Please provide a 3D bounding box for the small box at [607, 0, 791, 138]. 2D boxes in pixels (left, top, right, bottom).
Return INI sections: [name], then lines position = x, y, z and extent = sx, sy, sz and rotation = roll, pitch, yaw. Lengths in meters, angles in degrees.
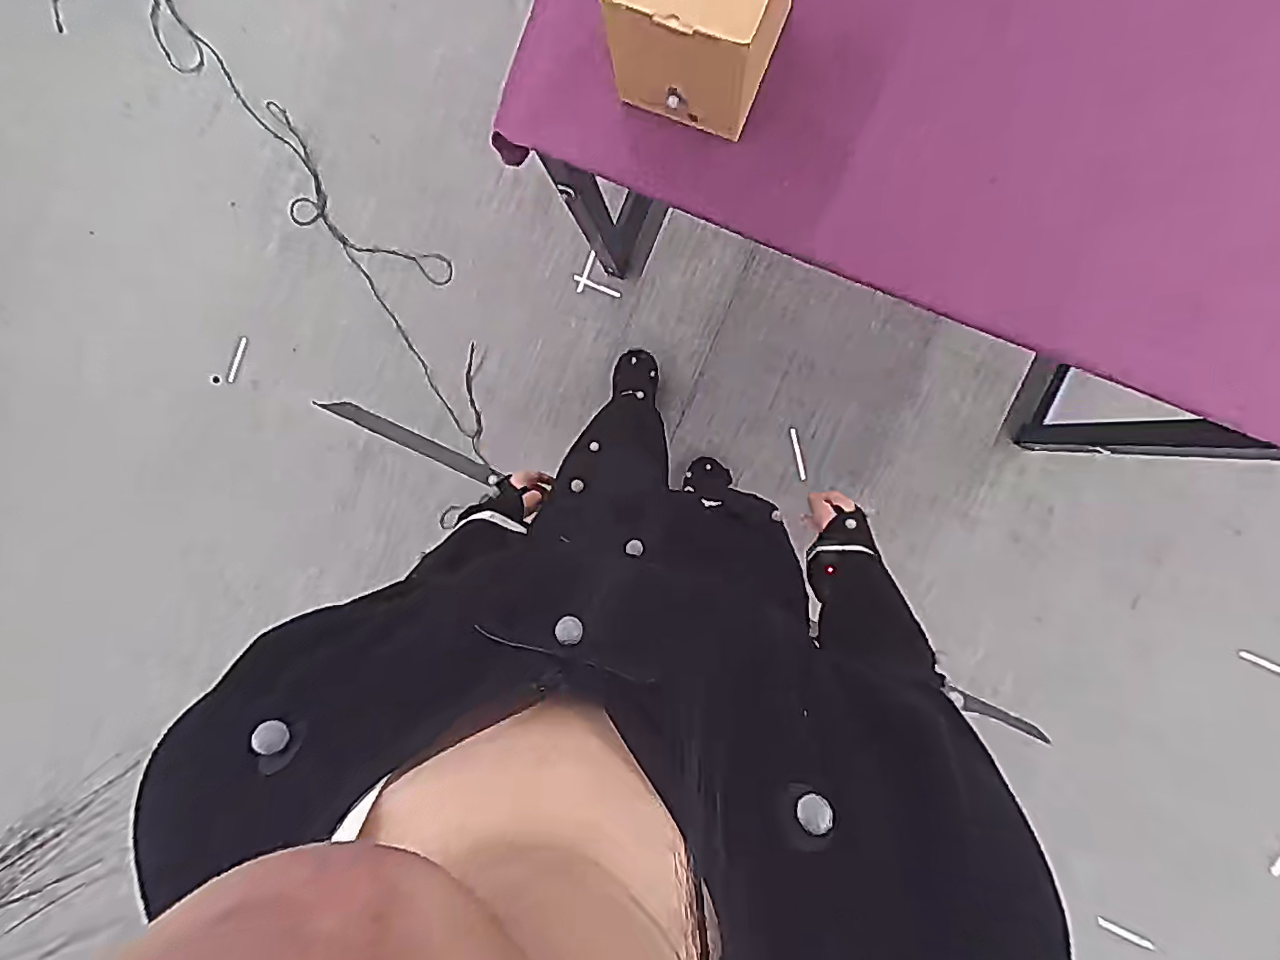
[small box]
position = 0.075, -0.539, 0.611
extent = 0.168, 0.176, 0.179
rotation = 23, 96, 5
